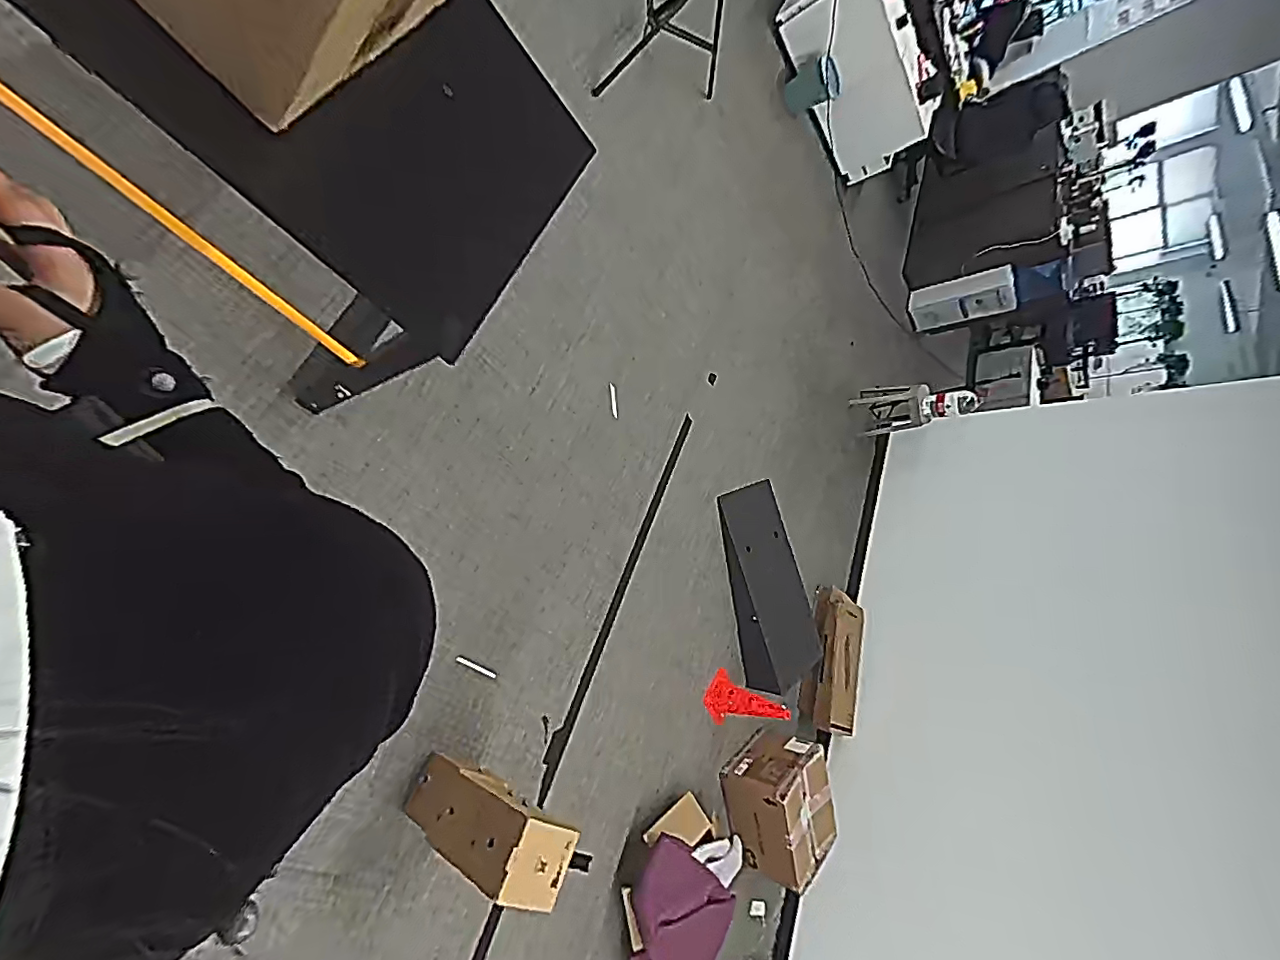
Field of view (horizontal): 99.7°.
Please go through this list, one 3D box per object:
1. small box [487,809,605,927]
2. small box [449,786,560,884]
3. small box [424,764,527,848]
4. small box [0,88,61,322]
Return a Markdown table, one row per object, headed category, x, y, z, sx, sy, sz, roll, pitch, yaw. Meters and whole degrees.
| category | x | y | z | sx | sy | sz | roll | pitch | yaw |
| --- | --- | --- | --- | --- | --- | --- | --- | --- | --- |
| small box | -0.219 | 0.888 | 1.248 | 0.179 | 0.176 | 0.168 | 44 | 57 | -35 |
| small box | -0.338 | 0.897 | 1.360 | 0.179 | 0.176 | 0.168 | 44 | 56 | -36 |
| small box | -0.451 | 0.903 | 1.481 | 0.179 | 0.176 | 0.168 | 43 | 57 | -35 |
| small box | -0.395 | -0.157 | 0.230 | 0.179 | 0.176 | 0.168 | -21 | 110 | -44 |
